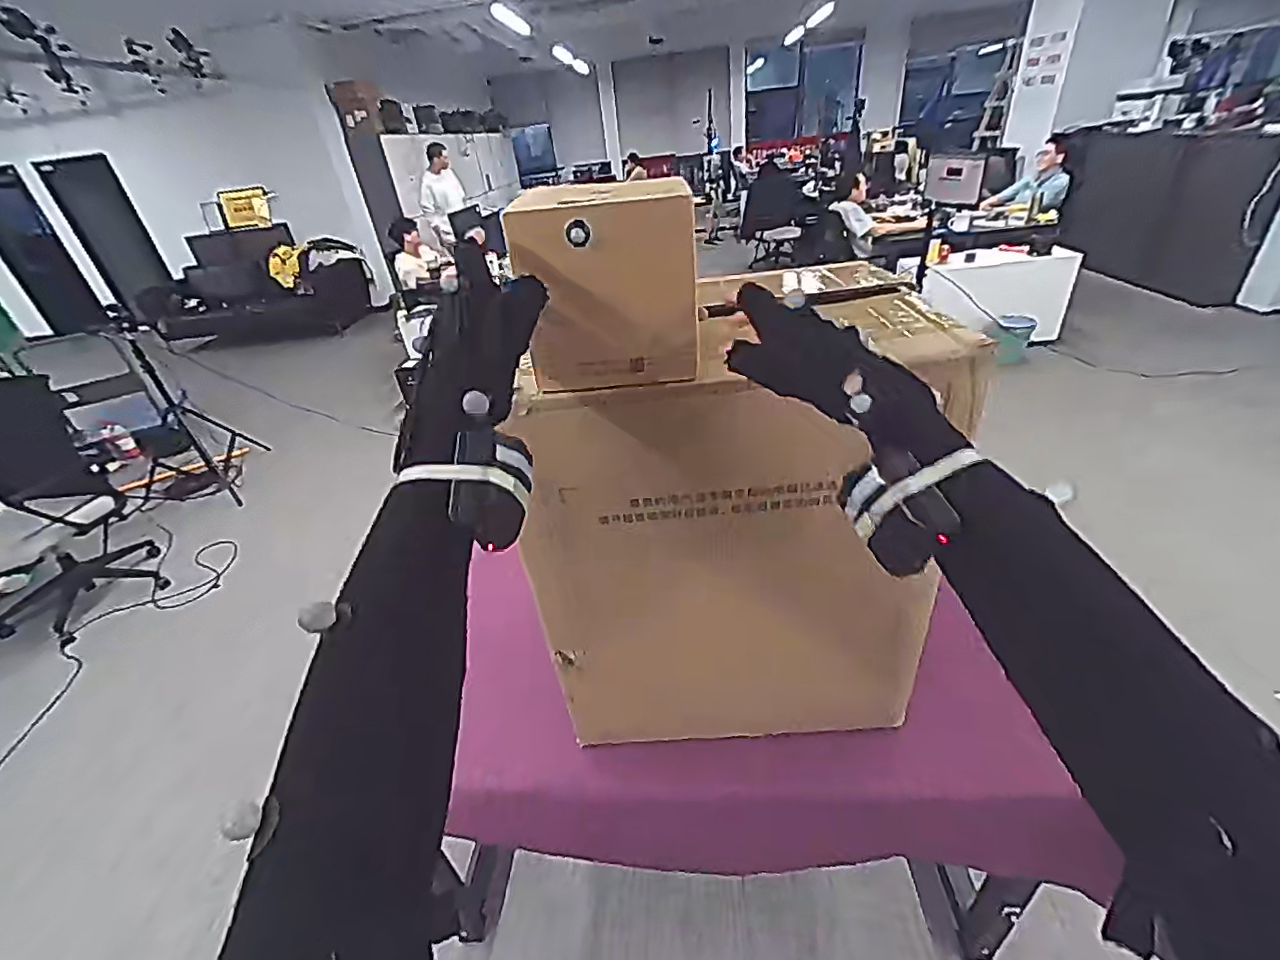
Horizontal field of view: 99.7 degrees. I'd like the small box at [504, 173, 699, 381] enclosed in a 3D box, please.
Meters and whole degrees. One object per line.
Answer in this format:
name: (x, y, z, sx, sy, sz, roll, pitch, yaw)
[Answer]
small box: (-0.028, -0.214, 0.564, 0.168, 0.176, 0.179, -4, 32, 3)
